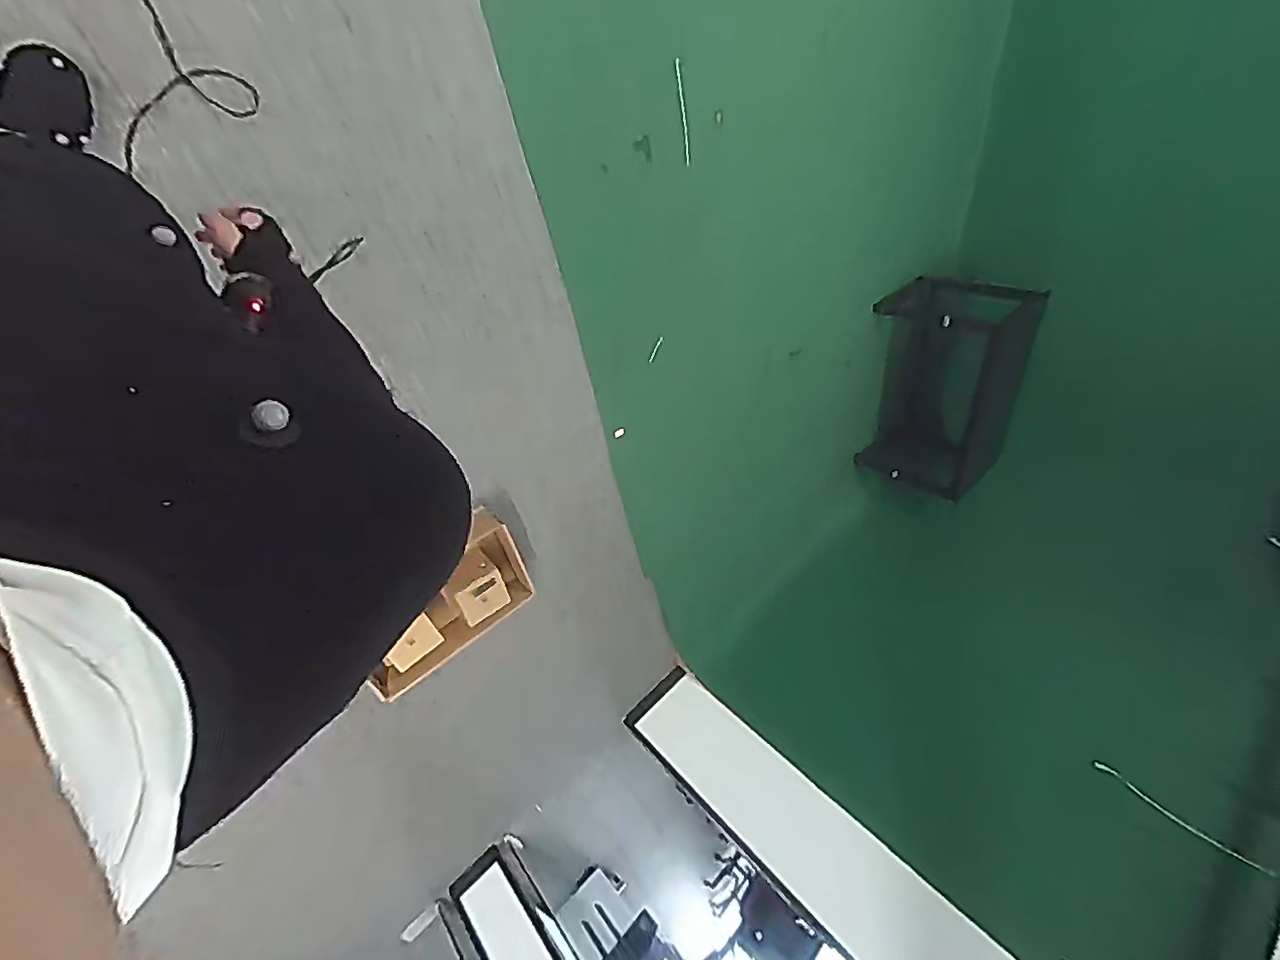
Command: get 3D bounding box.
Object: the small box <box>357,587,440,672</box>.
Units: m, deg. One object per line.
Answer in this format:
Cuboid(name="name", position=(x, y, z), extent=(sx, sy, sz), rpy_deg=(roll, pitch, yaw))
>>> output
Cuboid(name="small box", position=(-0.803, 0.492, 1.797), extent=(0.168, 0.176, 0.179), rpy_deg=(-37, 133, -24))
